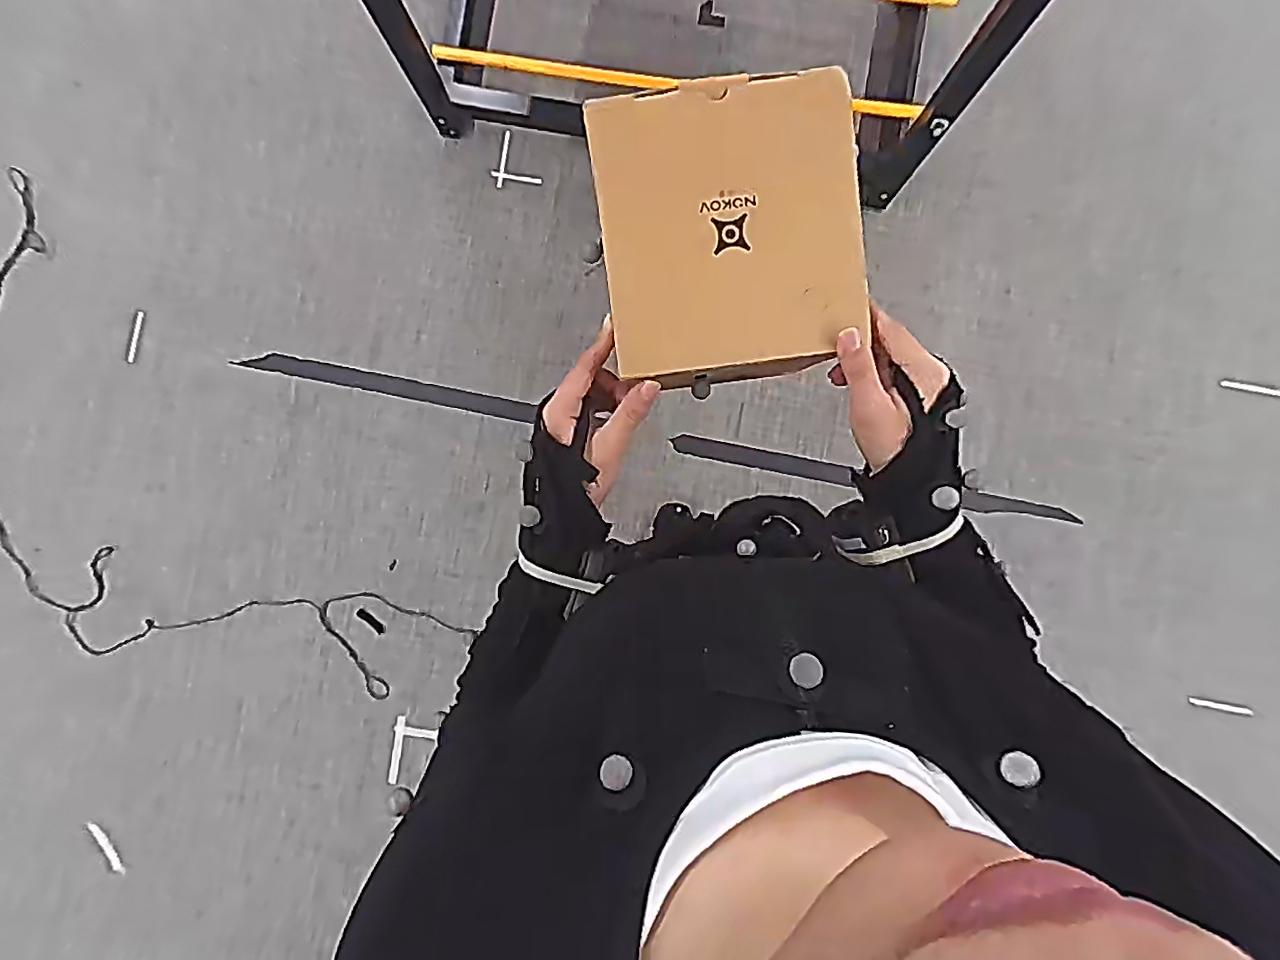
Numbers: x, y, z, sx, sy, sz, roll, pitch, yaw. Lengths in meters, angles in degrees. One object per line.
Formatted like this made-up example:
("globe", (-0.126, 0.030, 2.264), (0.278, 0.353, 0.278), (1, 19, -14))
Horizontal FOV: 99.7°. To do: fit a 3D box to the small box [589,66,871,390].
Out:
("small box", (0.060, -0.168, 0.423), (0.168, 0.176, 0.179), (-8, 94, 1))
